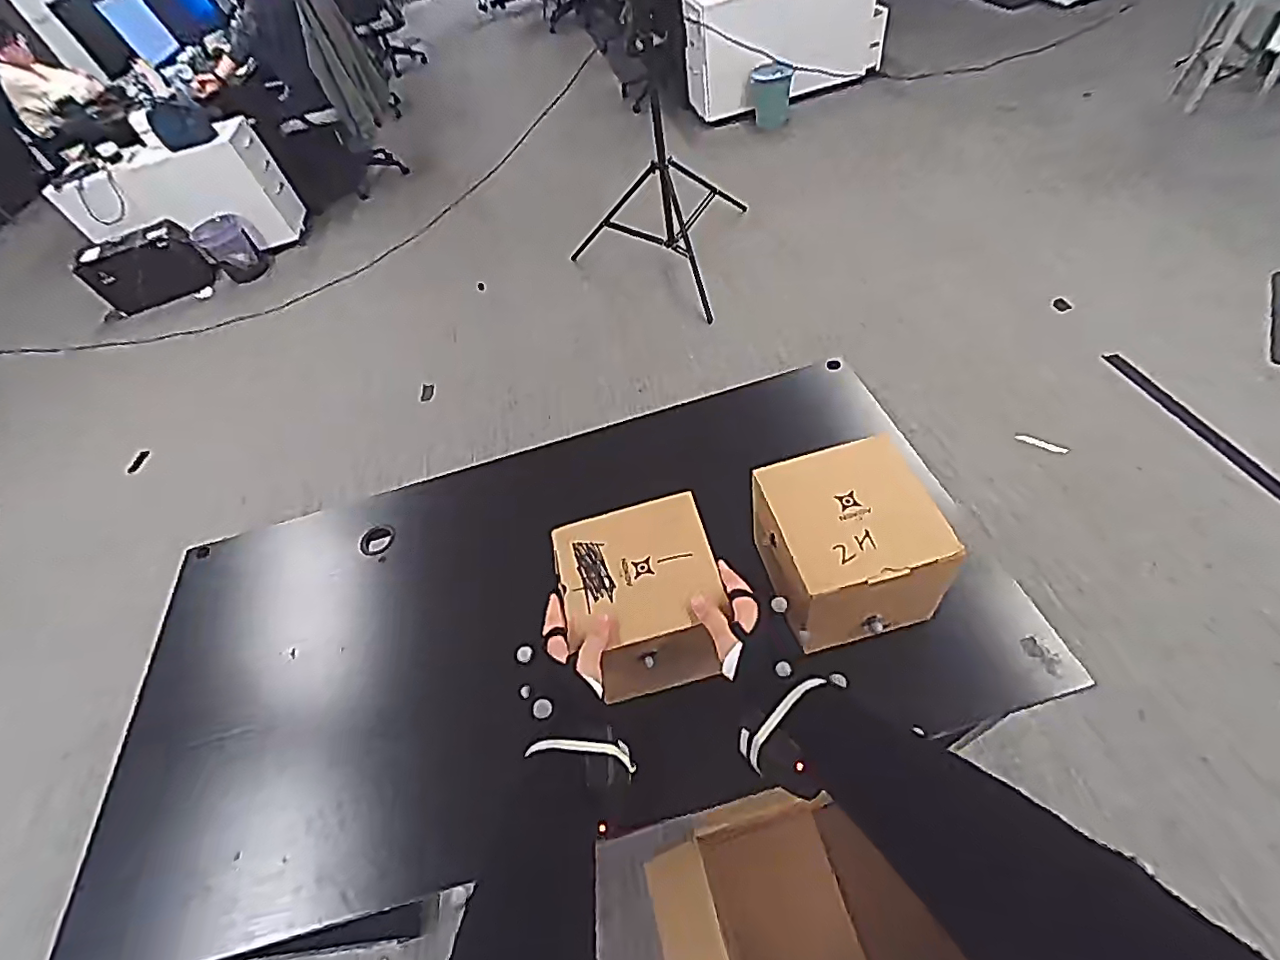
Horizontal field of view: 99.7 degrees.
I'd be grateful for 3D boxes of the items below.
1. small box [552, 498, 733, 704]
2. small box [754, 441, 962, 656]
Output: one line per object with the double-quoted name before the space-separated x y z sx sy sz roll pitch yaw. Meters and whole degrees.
"small box" 0.006 0.153 0.657 0.179 0.176 0.168 -15 51 0
"small box" 0.243 0.086 0.655 0.168 0.176 0.179 -16 51 1
